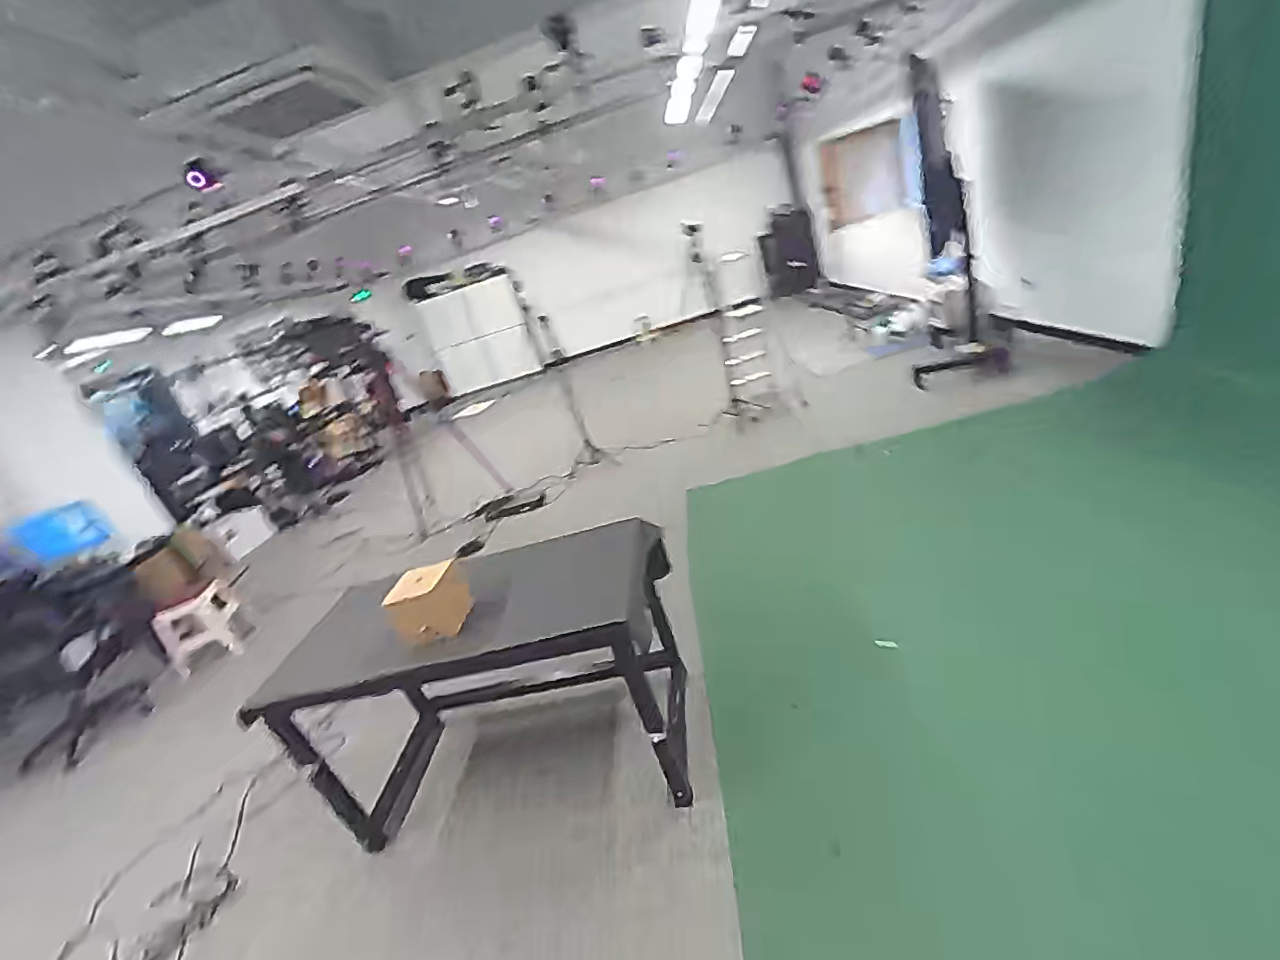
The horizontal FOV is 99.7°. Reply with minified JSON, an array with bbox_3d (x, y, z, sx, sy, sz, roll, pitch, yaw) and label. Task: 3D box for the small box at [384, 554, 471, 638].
[{"bbox_3d":[-0.642,0.357,1.664,0.168,0.176,0.179,-15,22,9],"label":"small box"}]
